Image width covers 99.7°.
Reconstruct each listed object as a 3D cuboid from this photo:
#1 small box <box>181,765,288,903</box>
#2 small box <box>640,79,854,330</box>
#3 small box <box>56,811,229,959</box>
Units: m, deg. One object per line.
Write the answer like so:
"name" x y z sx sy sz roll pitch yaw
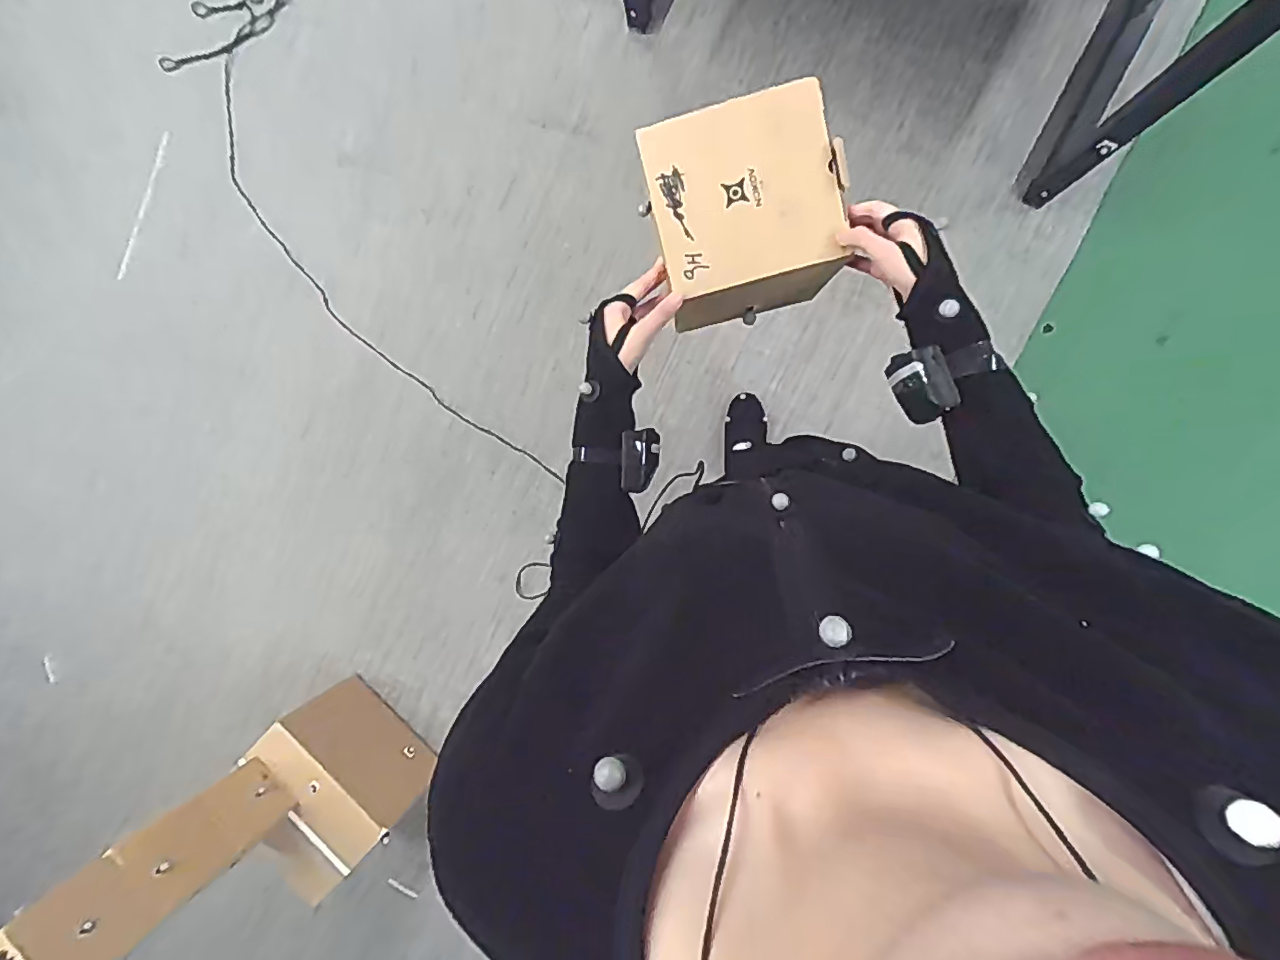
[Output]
"small box" -0.997 0.832 1.289 0.168 0.176 0.179 45 98 3
"small box" 0.103 -0.275 0.583 0.179 0.176 0.168 -13 92 4
"small box" -1.026 0.835 1.129 0.168 0.176 0.179 -44 87 8
